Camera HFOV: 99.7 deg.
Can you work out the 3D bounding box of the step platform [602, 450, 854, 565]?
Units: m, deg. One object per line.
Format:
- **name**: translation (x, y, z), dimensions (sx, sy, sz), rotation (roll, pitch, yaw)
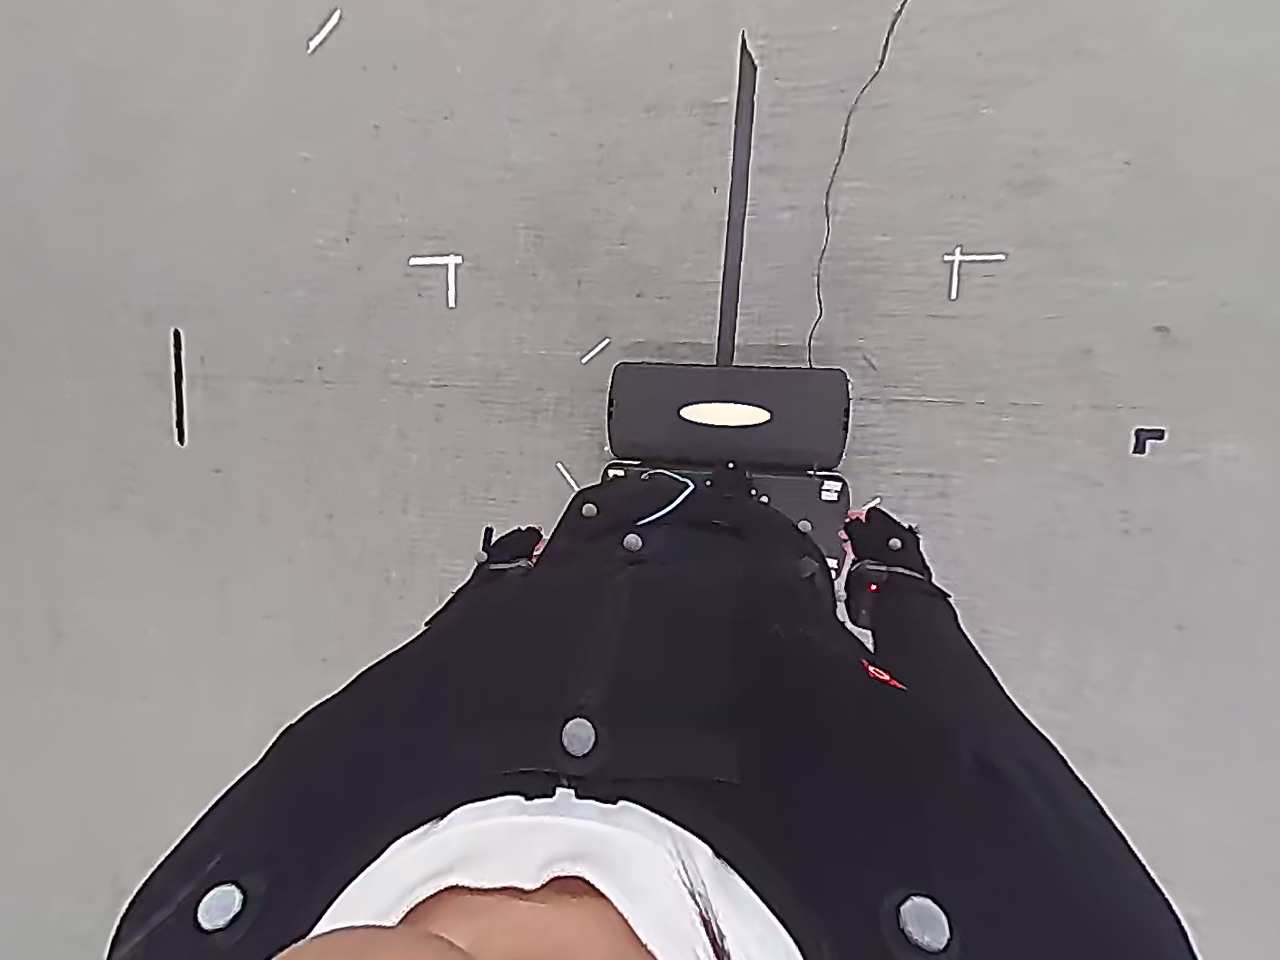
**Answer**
- **step platform**: translation (0.236, 0.070, 1.520), dimensions (0.684, 0.204, 0.286), rotation (3, 94, 9)
